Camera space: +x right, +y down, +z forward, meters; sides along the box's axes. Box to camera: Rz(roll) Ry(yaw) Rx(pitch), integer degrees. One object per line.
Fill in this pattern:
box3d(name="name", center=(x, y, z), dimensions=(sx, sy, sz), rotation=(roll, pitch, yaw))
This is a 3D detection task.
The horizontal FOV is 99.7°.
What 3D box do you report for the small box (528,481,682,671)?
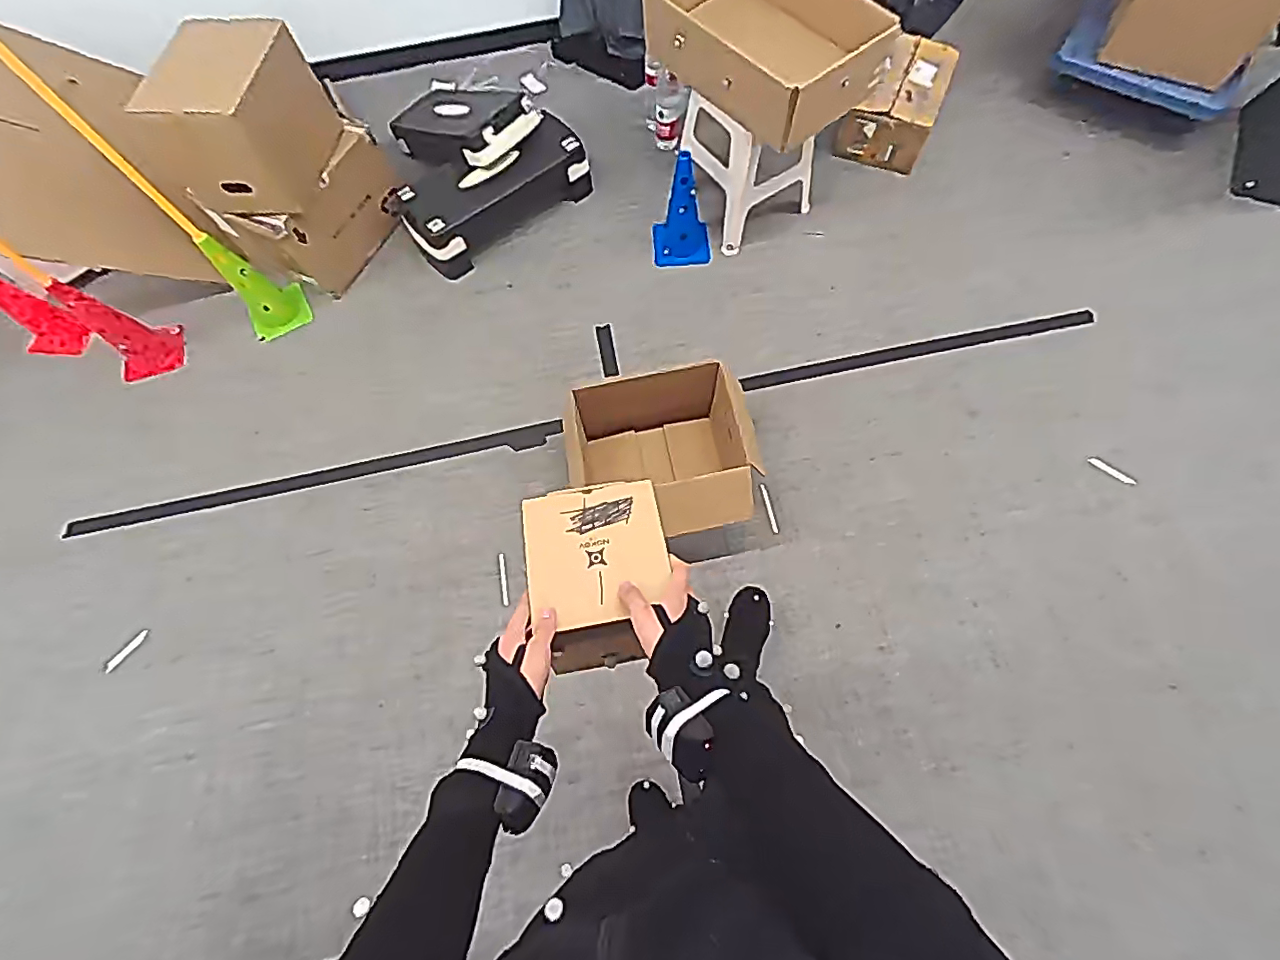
box3d(name="small box", center=(-0.046, 0.127, 0.701), dimensions=(0.168, 0.176, 0.179), rotation=(-9, 57, -4))
